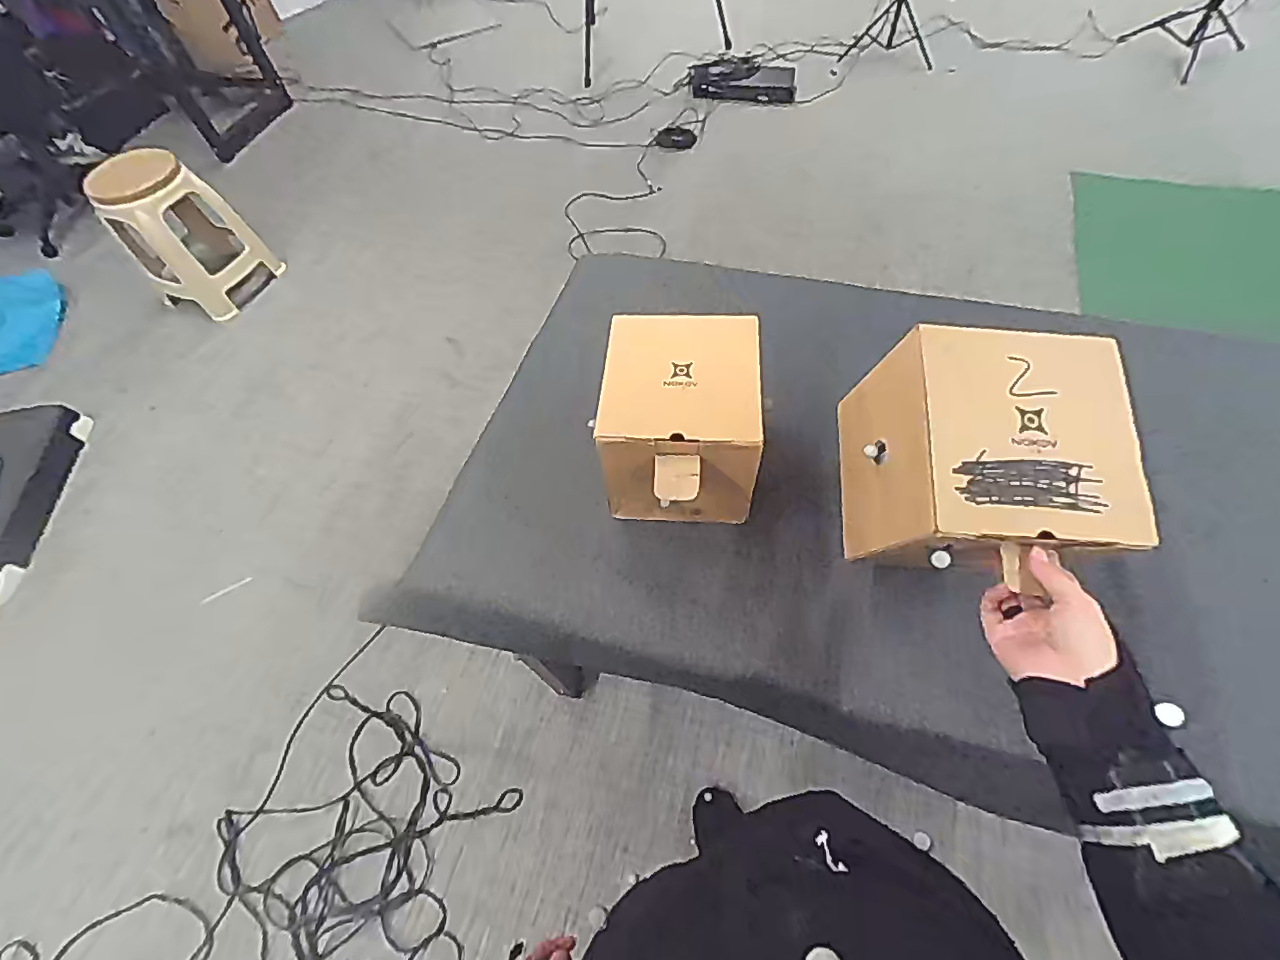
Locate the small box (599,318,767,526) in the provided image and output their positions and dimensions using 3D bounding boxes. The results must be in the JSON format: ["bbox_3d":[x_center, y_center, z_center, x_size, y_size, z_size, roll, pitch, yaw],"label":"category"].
[{"bbox_3d":[0.051,-0.065,0.632,0.168,0.176,0.179,2,59,5],"label":"small box"}]
